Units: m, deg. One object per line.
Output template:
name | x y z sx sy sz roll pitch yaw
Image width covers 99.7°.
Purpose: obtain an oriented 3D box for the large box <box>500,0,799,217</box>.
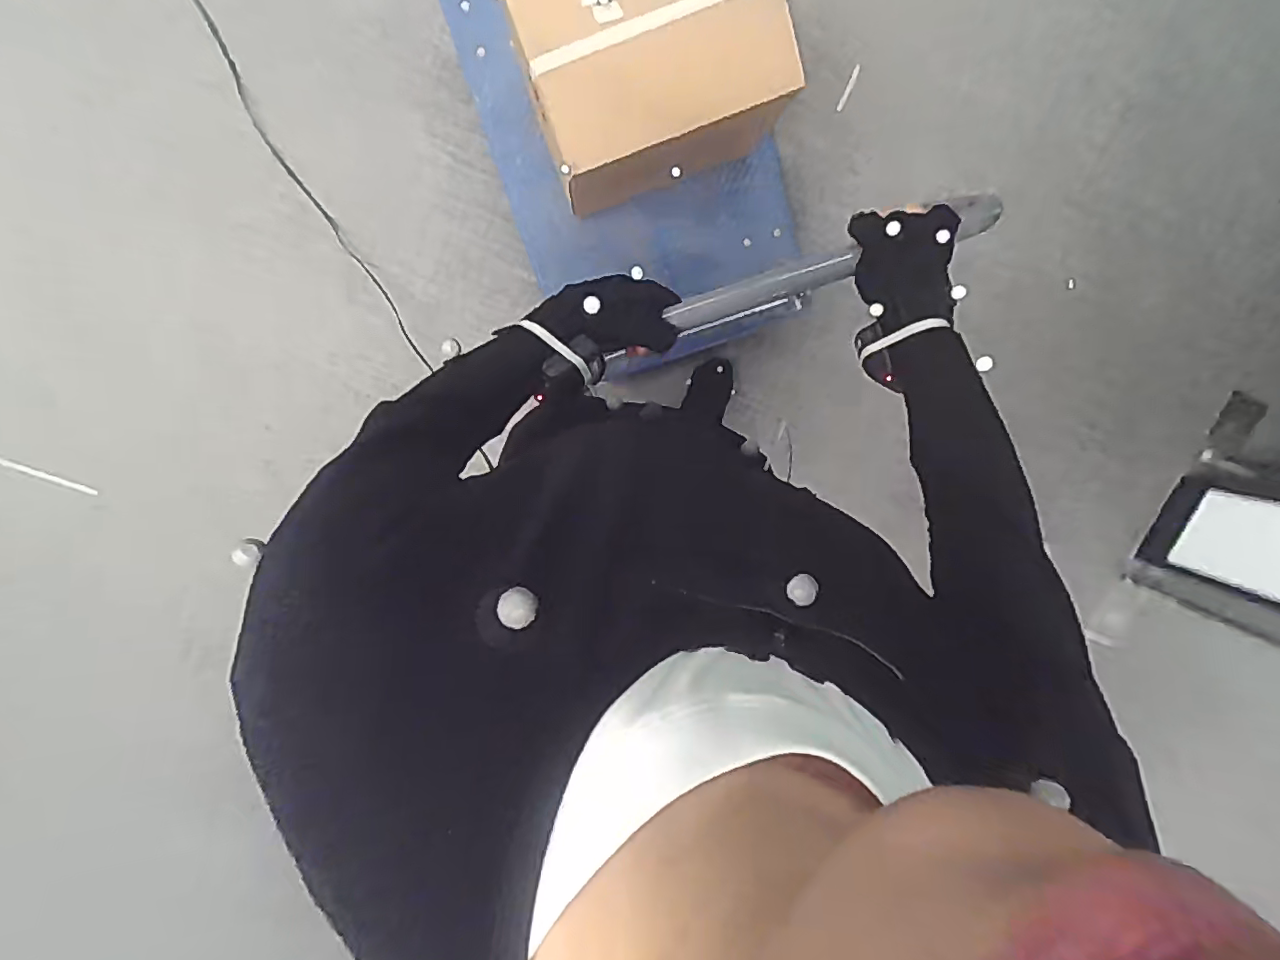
large box | 0.008 -0.732 0.974 0.408 0.320 0.320 -21 104 1
